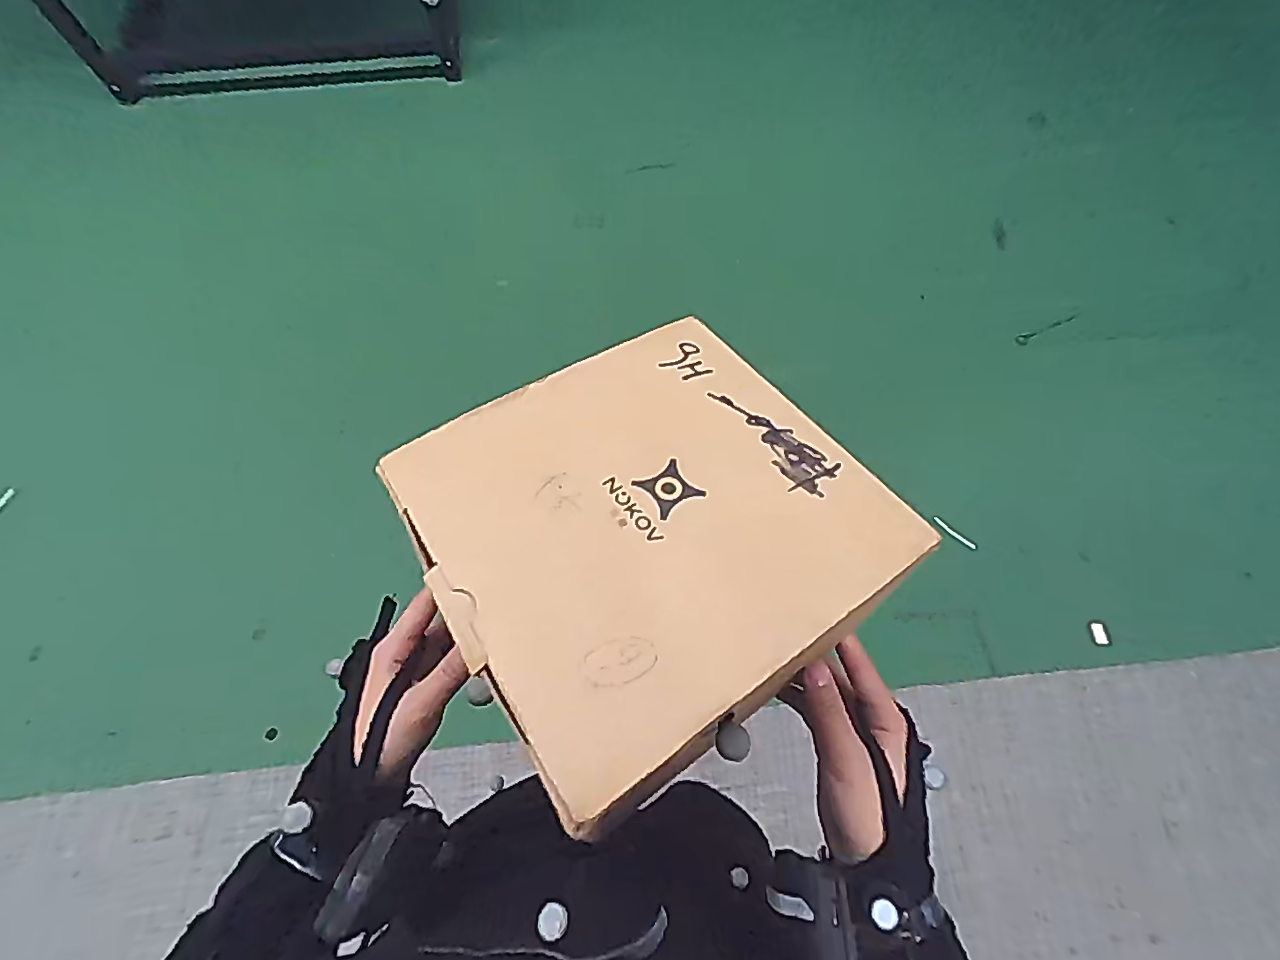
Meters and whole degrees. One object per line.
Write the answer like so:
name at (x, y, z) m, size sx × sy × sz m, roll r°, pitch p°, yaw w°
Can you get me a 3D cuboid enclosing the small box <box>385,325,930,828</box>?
small box at (0.002, 0.056, 0.291) m, size 0.179 × 0.176 × 0.168 m, roll -29°, pitch 61°, yaw -20°
